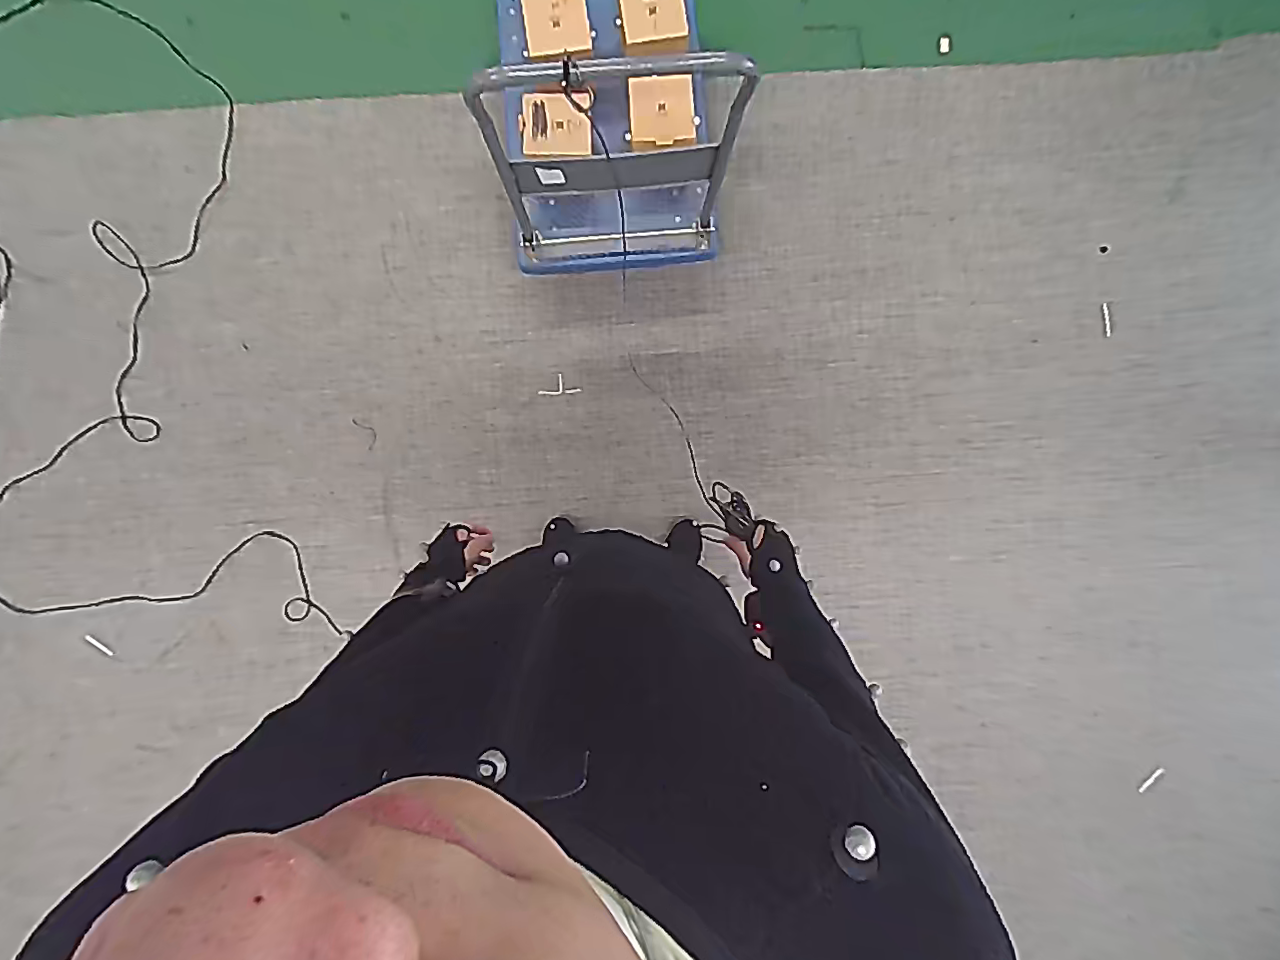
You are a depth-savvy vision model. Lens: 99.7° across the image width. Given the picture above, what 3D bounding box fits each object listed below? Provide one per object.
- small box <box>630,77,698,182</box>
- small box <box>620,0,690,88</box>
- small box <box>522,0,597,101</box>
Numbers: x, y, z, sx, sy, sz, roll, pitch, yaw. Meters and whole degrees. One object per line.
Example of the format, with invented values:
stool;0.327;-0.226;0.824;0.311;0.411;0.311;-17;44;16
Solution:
small box;0.058;-0.933;1.450;0.168;0.176;0.179;-4;88;-1
small box;0.036;-1.202;1.464;0.168;0.176;0.179;-8;88;0
small box;-0.213;-1.163;1.460;0.168;0.176;0.179;-8;87;-2
